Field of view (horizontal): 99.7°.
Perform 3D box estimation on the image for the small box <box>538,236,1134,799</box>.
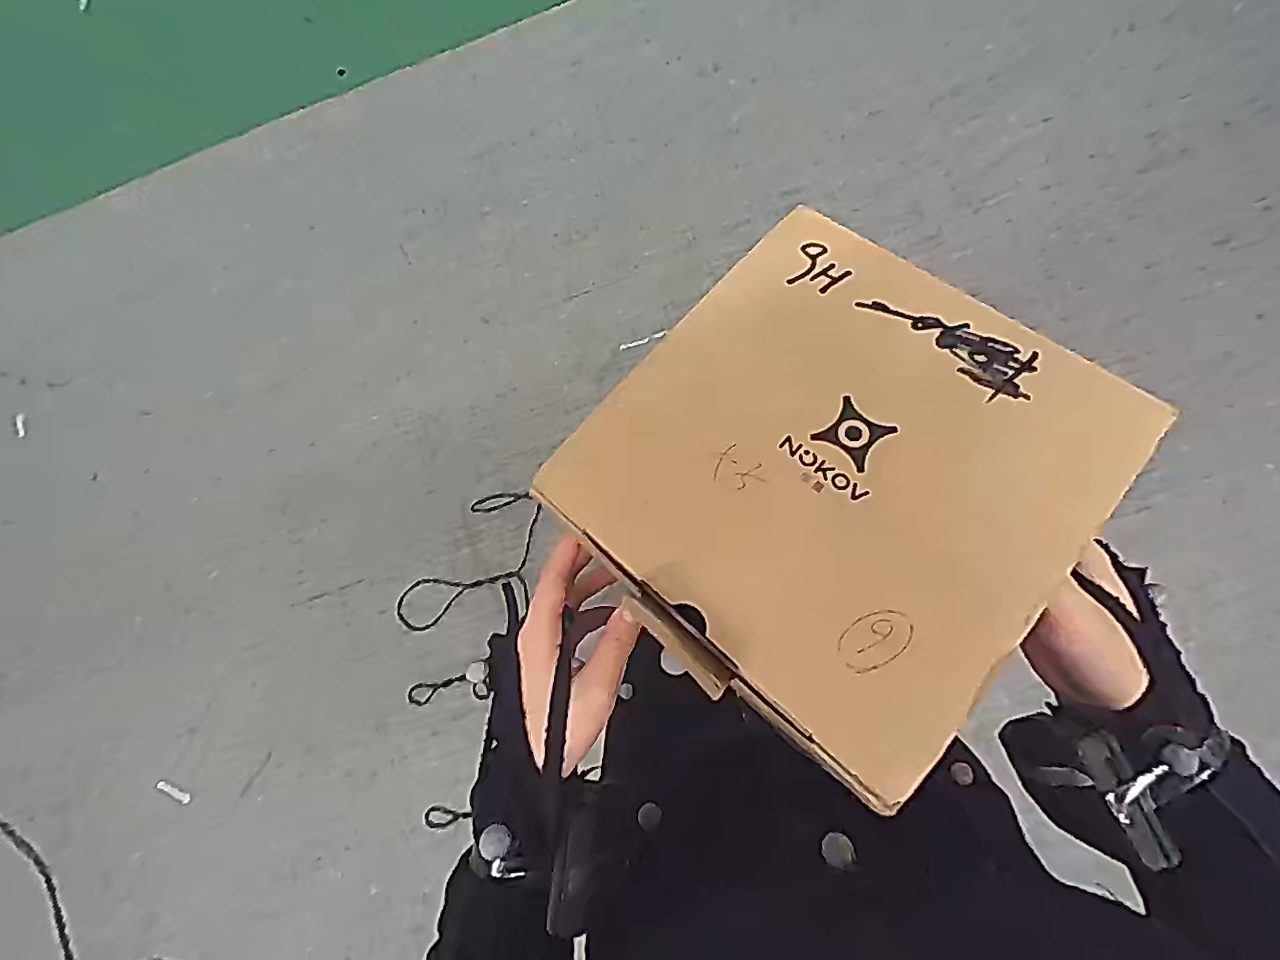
[{"bbox_3d":[0.082,0.022,0.289,0.168,0.176,0.179,40,79,18],"label":"small box"}]
